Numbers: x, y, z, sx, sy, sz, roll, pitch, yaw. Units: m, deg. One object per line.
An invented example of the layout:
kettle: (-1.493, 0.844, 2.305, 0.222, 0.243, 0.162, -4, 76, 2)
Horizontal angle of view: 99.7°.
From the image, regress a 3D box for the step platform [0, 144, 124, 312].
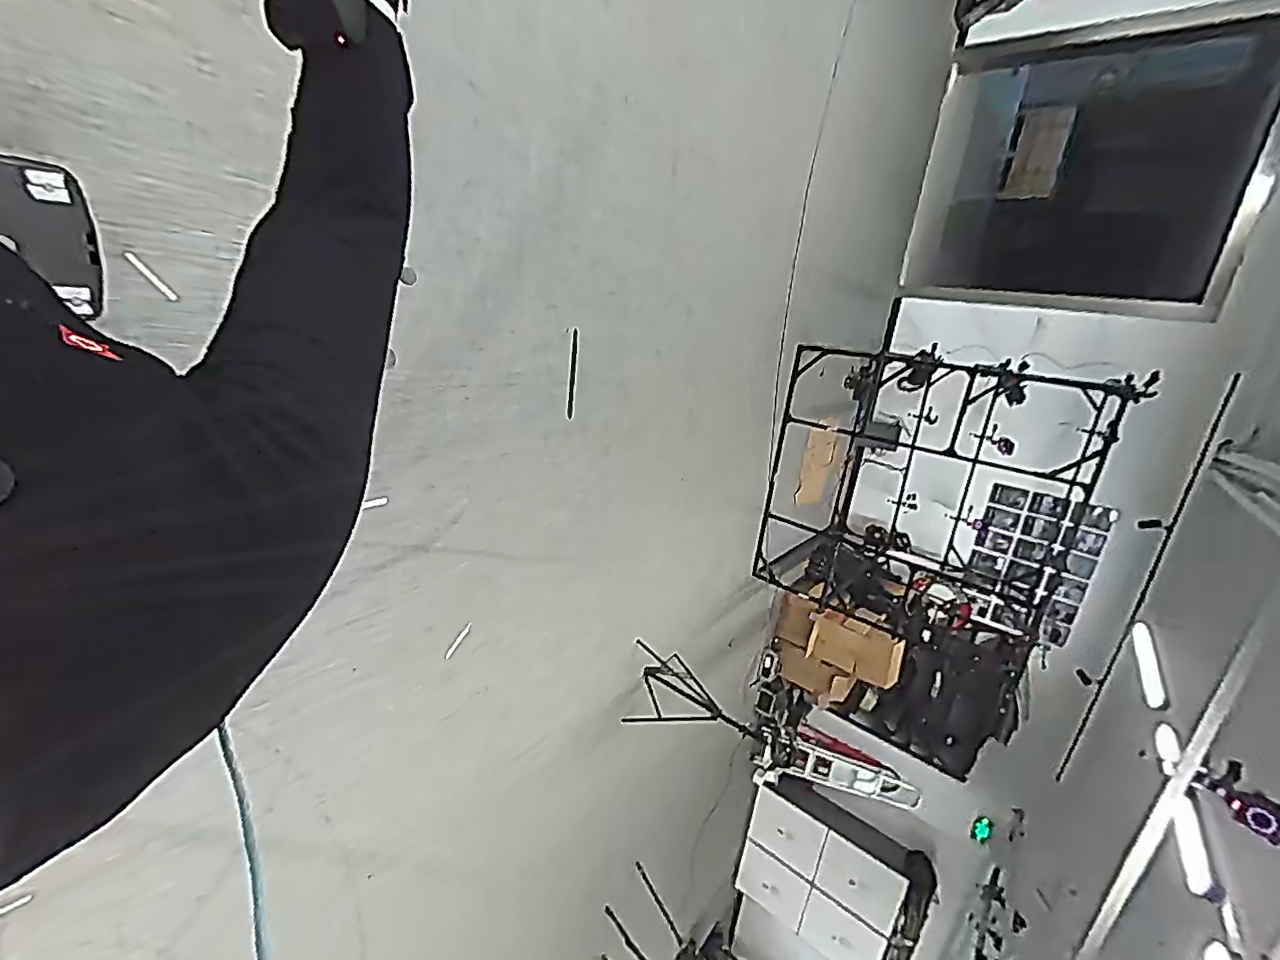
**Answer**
step platform: (-1.291, -0.428, 0.856, 0.684, 0.204, 0.286, -18, 121, -50)
